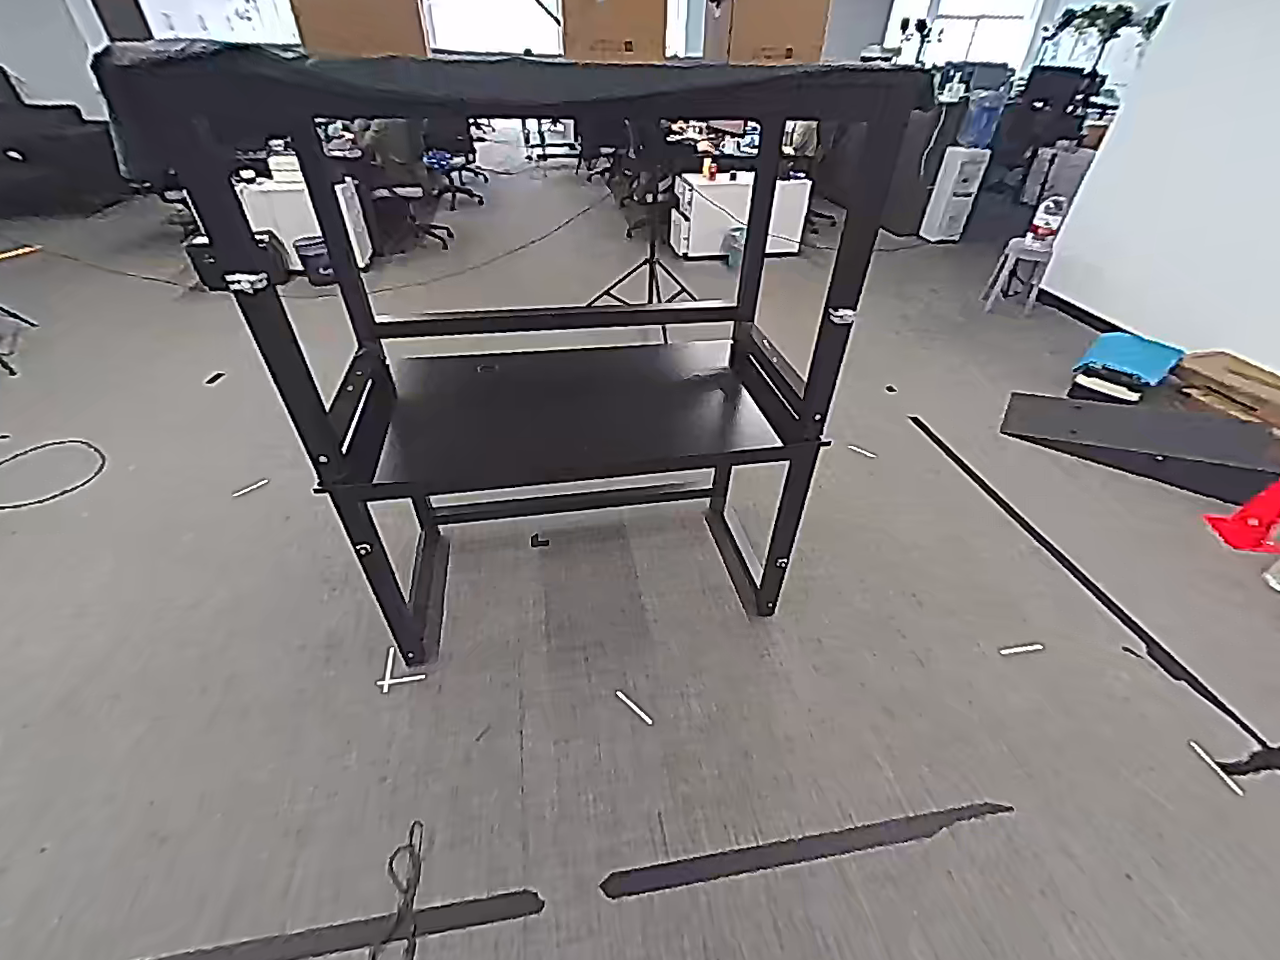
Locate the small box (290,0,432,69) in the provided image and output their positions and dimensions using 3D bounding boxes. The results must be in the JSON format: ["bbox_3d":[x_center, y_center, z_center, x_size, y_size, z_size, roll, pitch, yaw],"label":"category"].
[{"bbox_3d":[-0.422,-0.733,0.819,0.179,0.176,0.168,-9,38,-12],"label":"small box"}]

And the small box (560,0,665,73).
[{"bbox_3d":[-0.049,-0.783,0.896,0.168,0.176,0.179,-4,38,-6],"label":"small box"}]
